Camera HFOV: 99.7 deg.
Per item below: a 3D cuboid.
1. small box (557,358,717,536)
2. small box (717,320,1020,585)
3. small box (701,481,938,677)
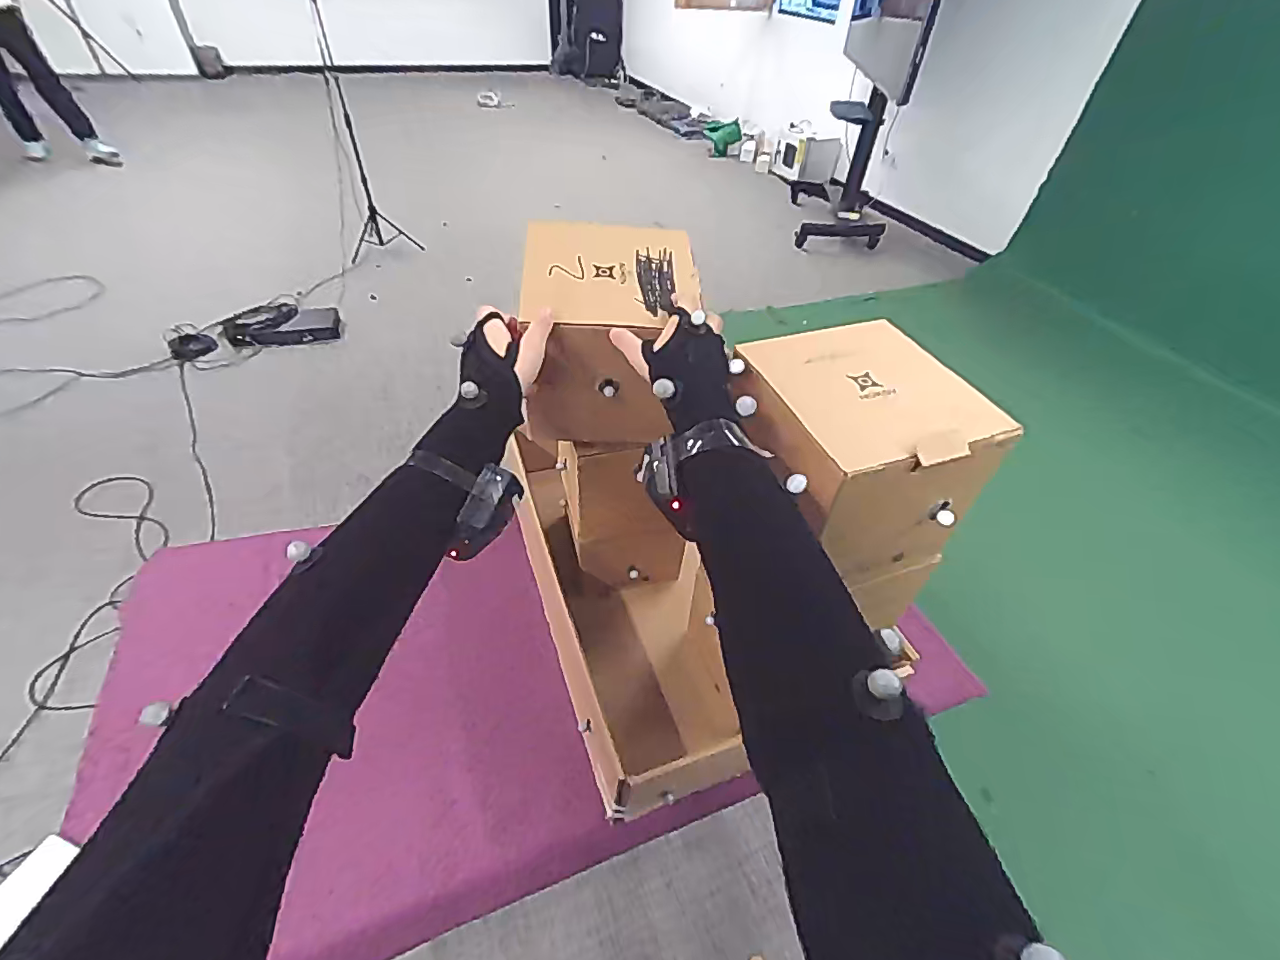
[{"bbox_3d":[-0.014,-0.044,0.745,0.179,0.176,0.168,-10,49,-12],"label":"small box"},{"bbox_3d":[0.186,-0.022,0.505,0.168,0.176,0.179,-12,47,-15],"label":"small box"},{"bbox_3d":[0.185,0.096,0.618,0.179,0.176,0.168,-14,48,-14],"label":"small box"}]
